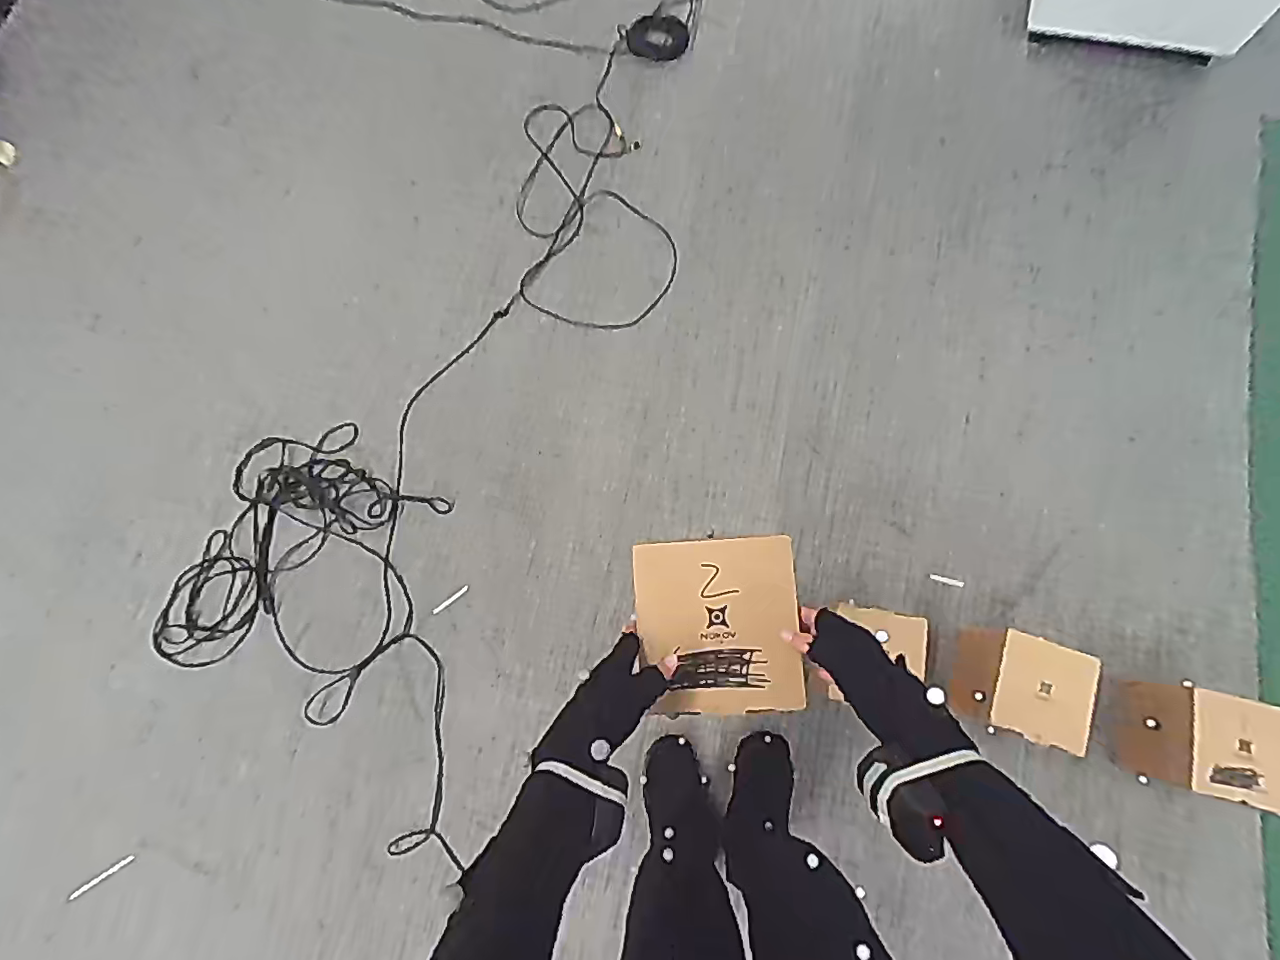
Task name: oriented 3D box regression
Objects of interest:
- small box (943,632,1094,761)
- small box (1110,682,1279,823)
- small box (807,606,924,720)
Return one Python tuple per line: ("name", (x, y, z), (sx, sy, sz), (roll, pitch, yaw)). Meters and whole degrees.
("small box", (0.717, 0.403, 1.041), (0.168, 0.176, 0.179), (19, 78, 8))
("small box", (1.022, 0.490, 1.001), (0.168, 0.176, 0.179), (14, 76, 7))
("small box", (0.437, 0.352, 1.069), (0.168, 0.176, 0.179), (9, 78, 7))
